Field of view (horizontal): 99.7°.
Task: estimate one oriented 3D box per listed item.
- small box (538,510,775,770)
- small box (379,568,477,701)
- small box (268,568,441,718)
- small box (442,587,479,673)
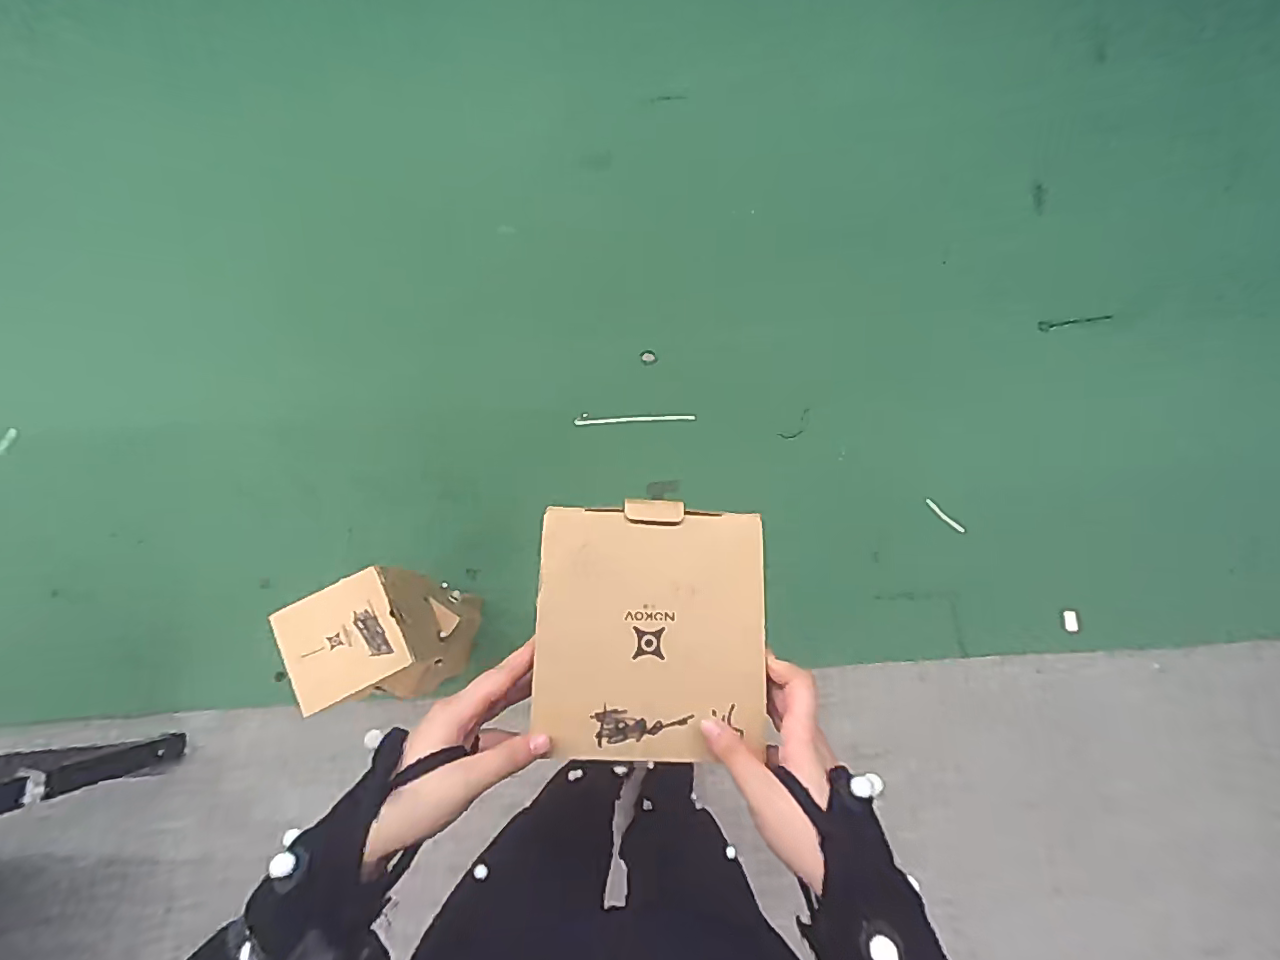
[{"bbox_3d":[0.012,0.127,0.464,0.168,0.176,0.179,2,79,-1],"label":"small box"},{"bbox_3d":[-0.442,0.292,1.042,0.168,0.176,0.179,33,77,5],"label":"small box"},{"bbox_3d":[-0.447,0.255,0.882,0.179,0.176,0.168,-26,79,-6],"label":"small box"},{"bbox_3d":[-0.476,0.326,1.201,0.168,0.176,0.179,13,76,2],"label":"small box"}]
